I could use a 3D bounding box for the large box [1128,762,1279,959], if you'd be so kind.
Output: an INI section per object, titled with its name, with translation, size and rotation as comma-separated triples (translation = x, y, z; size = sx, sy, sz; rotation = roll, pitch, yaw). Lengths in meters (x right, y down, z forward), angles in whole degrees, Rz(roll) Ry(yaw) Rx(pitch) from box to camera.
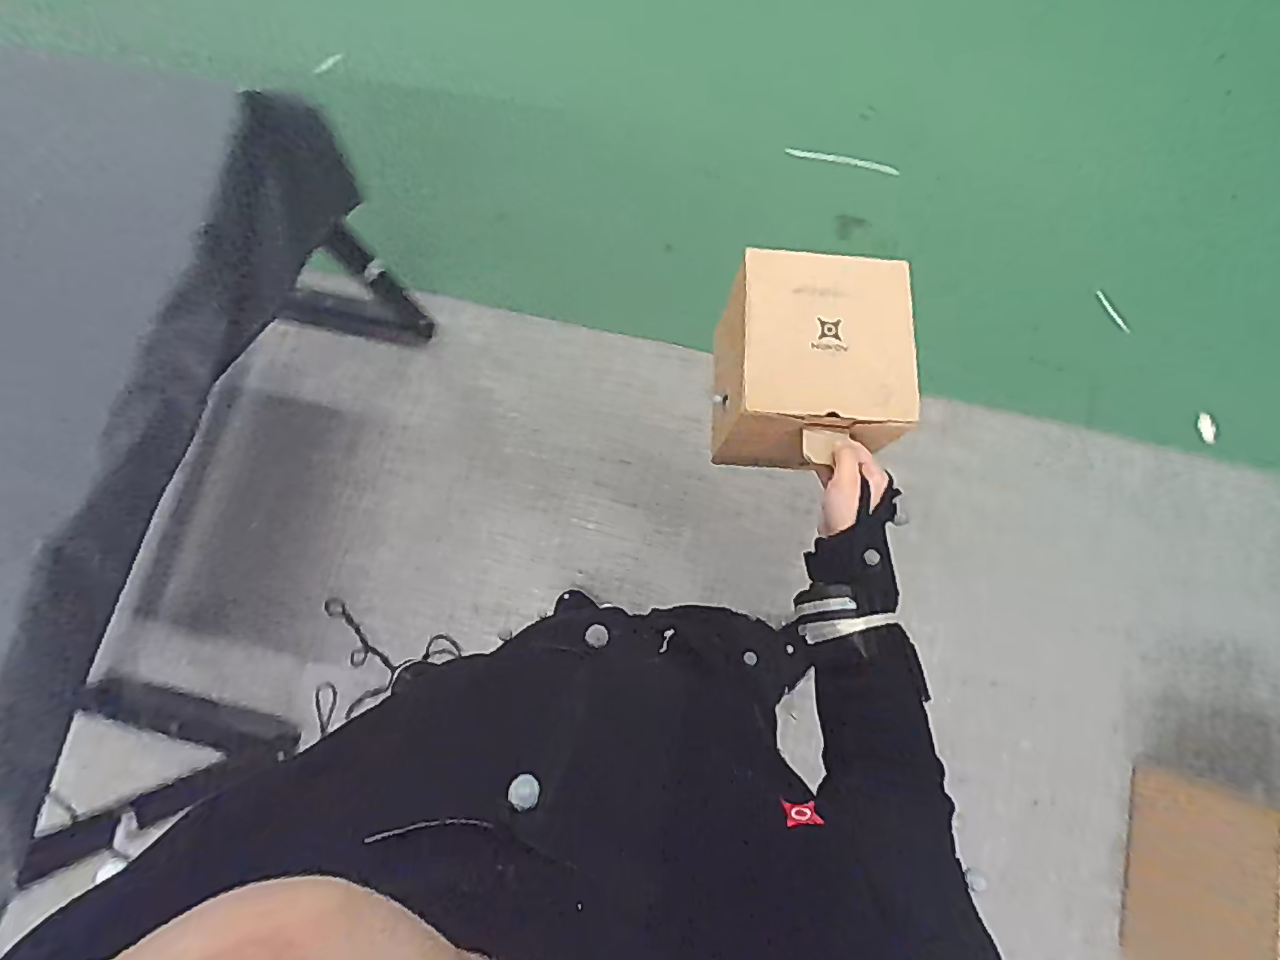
[large box]
translation = 1.230, 0.830, 1.042
size = 0.320, 0.320, 0.408
rotation = 11, 81, 6
